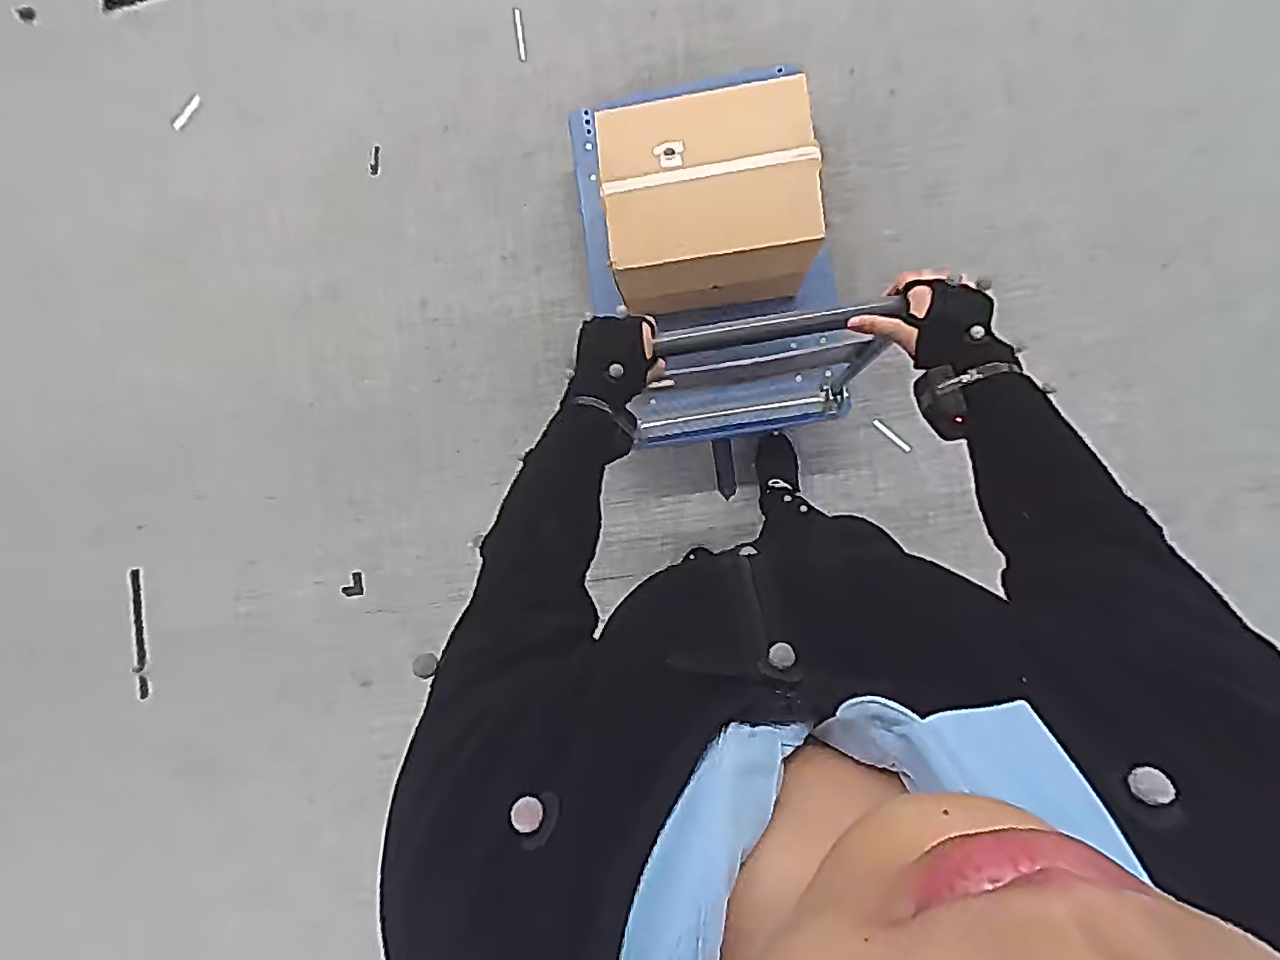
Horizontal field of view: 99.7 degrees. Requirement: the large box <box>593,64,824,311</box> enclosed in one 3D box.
[{"bbox_3d":[0.142,-0.582,1.152,0.408,0.320,0.320,-7,88,7],"label":"large box"}]
